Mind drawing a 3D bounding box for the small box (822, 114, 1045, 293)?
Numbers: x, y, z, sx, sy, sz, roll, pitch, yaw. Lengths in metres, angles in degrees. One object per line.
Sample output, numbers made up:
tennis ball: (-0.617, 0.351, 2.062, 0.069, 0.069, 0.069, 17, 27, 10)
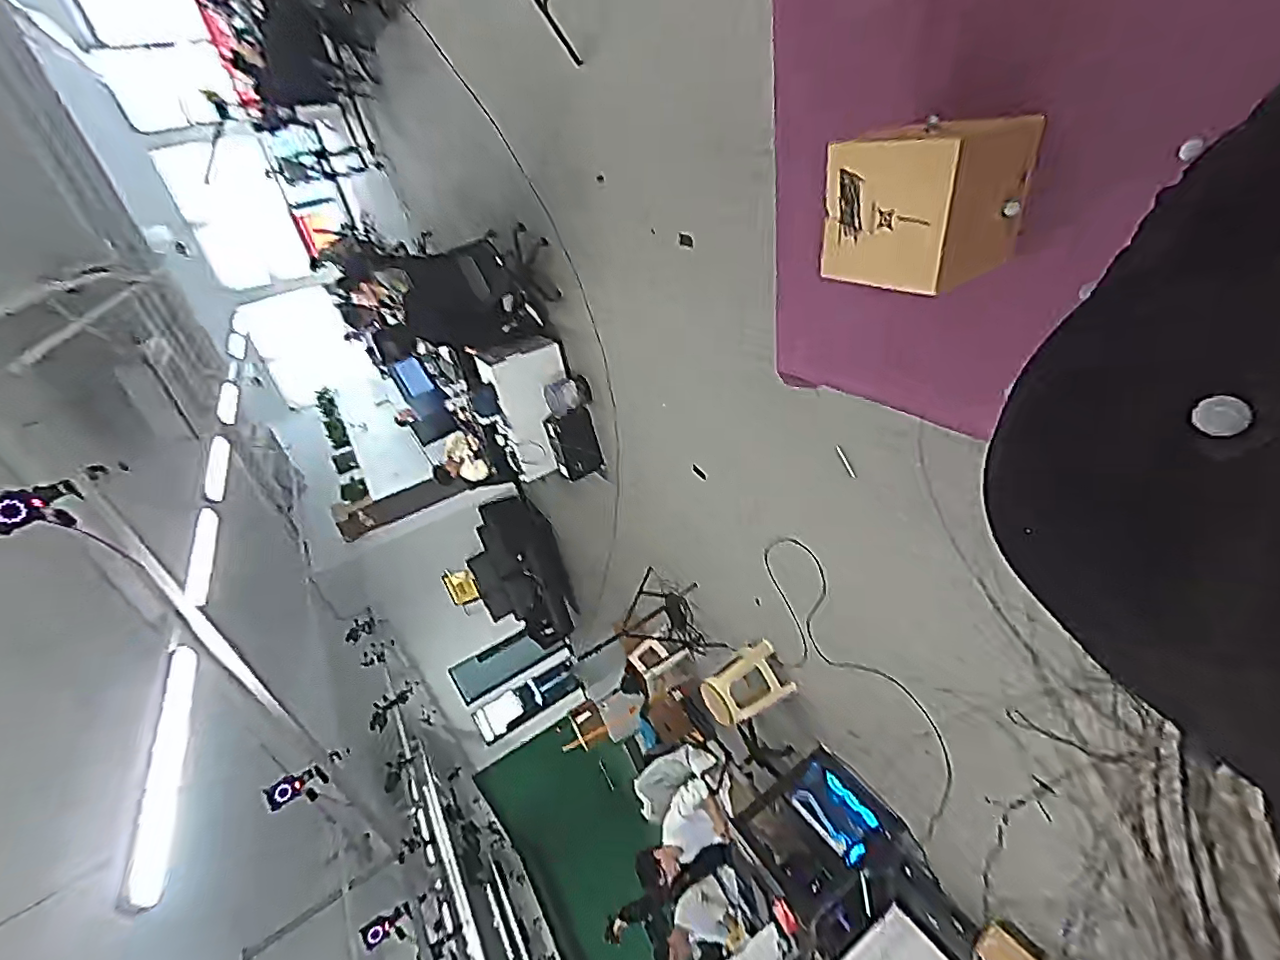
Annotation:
small box: (0.363, -0.358, 0.694, 0.179, 0.176, 0.168, 38, 146, 47)
